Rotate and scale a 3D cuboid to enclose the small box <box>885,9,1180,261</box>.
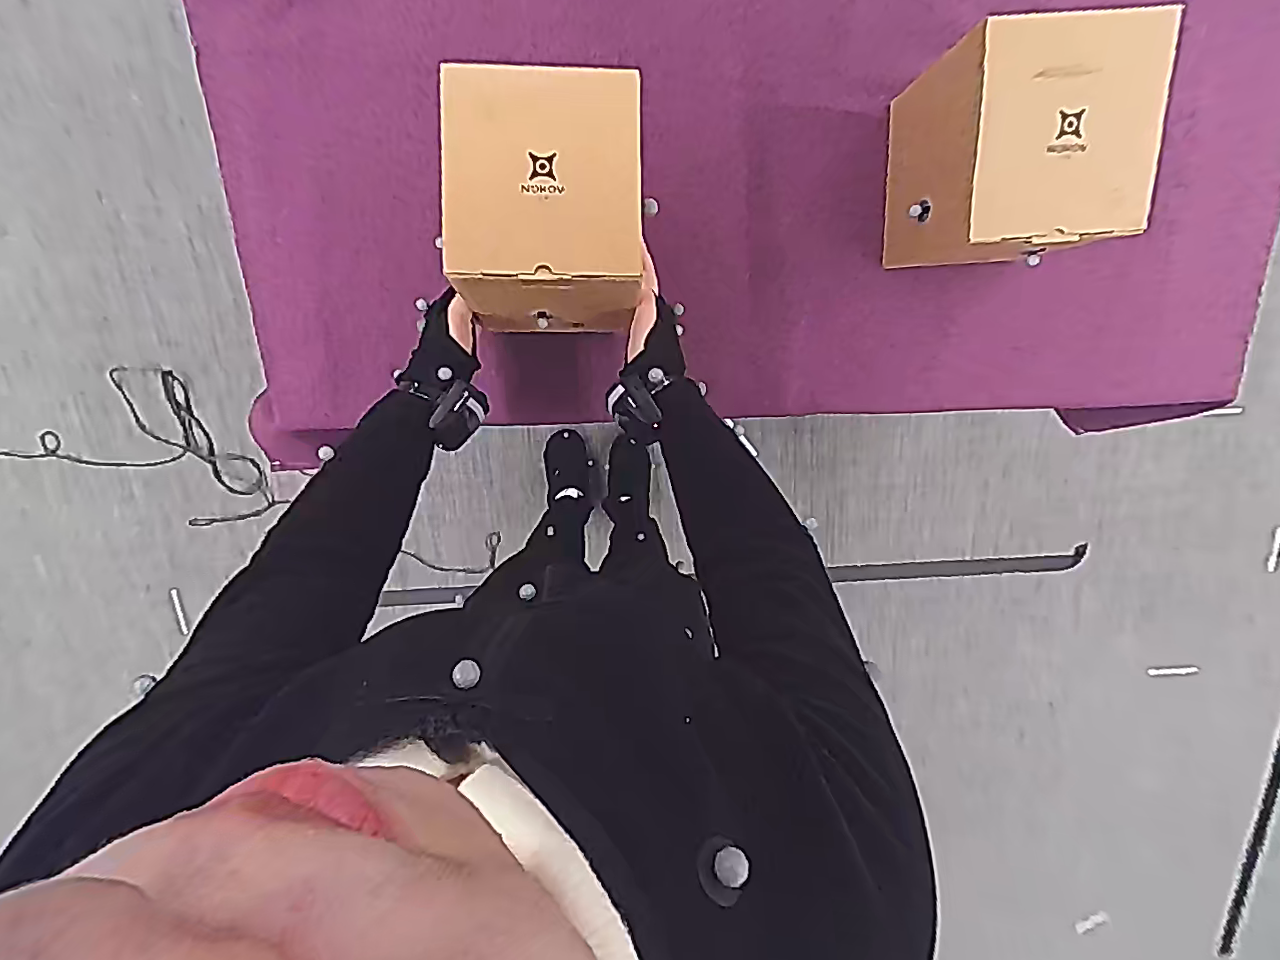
[{"bbox_3d":[0.365,-0.321,0.543,0.168,0.176,0.179,-3,105,-1],"label":"small box"}]

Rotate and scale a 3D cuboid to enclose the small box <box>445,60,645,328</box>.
[{"bbox_3d":[-0.084,-0.258,0.528,0.168,0.176,0.179,-1,92,-4],"label":"small box"}]
